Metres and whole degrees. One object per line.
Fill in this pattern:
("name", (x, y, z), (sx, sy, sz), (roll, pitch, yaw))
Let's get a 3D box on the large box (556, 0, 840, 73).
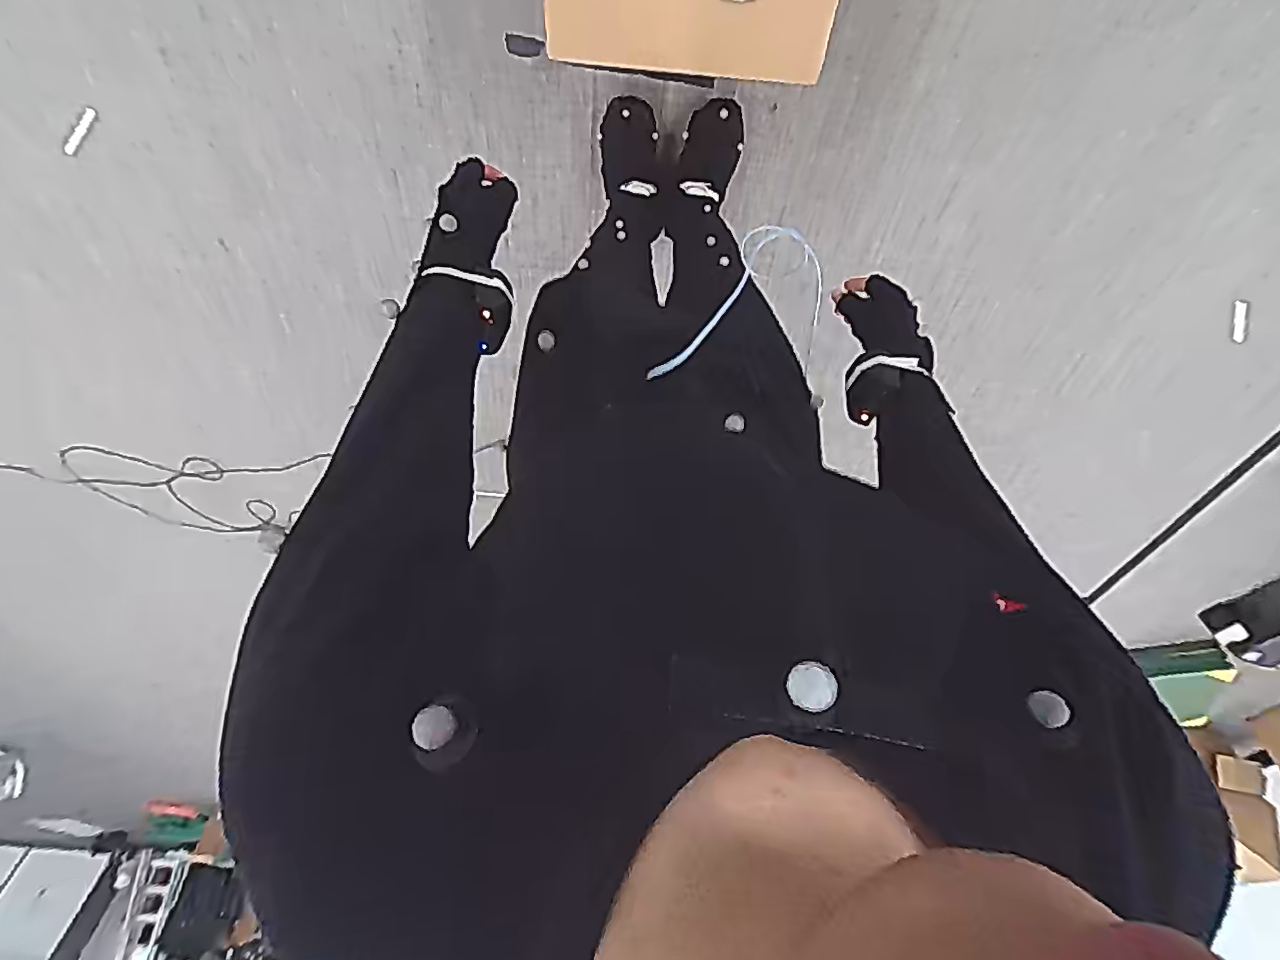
("large box", (0.088, -0.831, 0.799), (0.408, 0.320, 0.320), (4, 136, -2))
